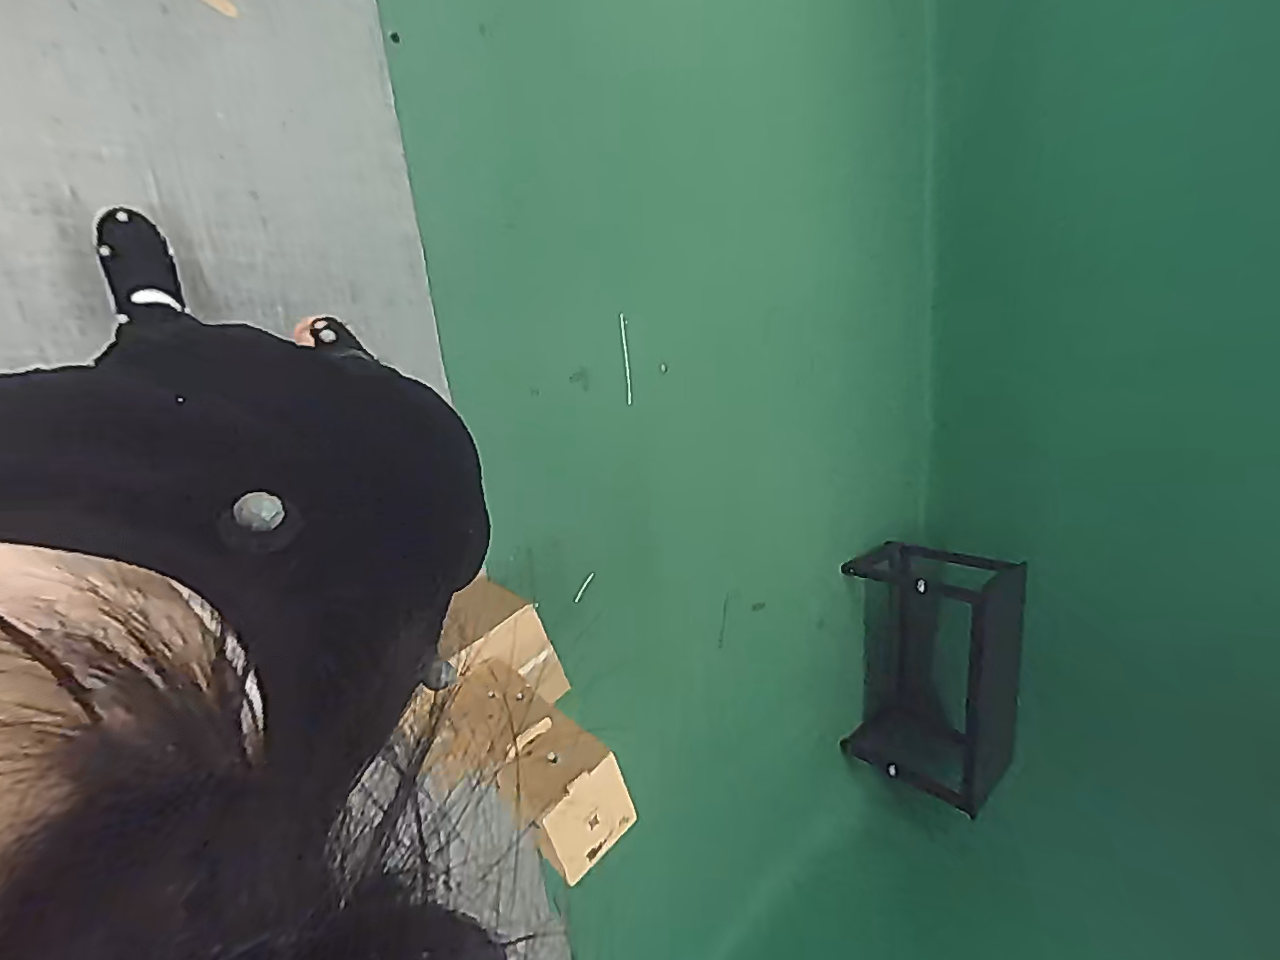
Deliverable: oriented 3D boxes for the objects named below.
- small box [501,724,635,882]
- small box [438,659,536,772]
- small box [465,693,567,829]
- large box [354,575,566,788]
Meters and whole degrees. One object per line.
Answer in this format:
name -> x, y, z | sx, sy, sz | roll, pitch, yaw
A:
small box -> -0.142, 0.603, 1.042 | 0.168, 0.176, 0.179 | -28, 111, -34
small box -> -0.350, 0.561, 1.292 | 0.179, 0.176, 0.168 | -29, 112, -34
small box -> -0.251, 0.586, 1.164 | 0.168, 0.176, 0.179 | -27, 112, -35
large box -> -0.489, 0.523, 1.492 | 0.408, 0.320, 0.320 | -33, 117, -34
